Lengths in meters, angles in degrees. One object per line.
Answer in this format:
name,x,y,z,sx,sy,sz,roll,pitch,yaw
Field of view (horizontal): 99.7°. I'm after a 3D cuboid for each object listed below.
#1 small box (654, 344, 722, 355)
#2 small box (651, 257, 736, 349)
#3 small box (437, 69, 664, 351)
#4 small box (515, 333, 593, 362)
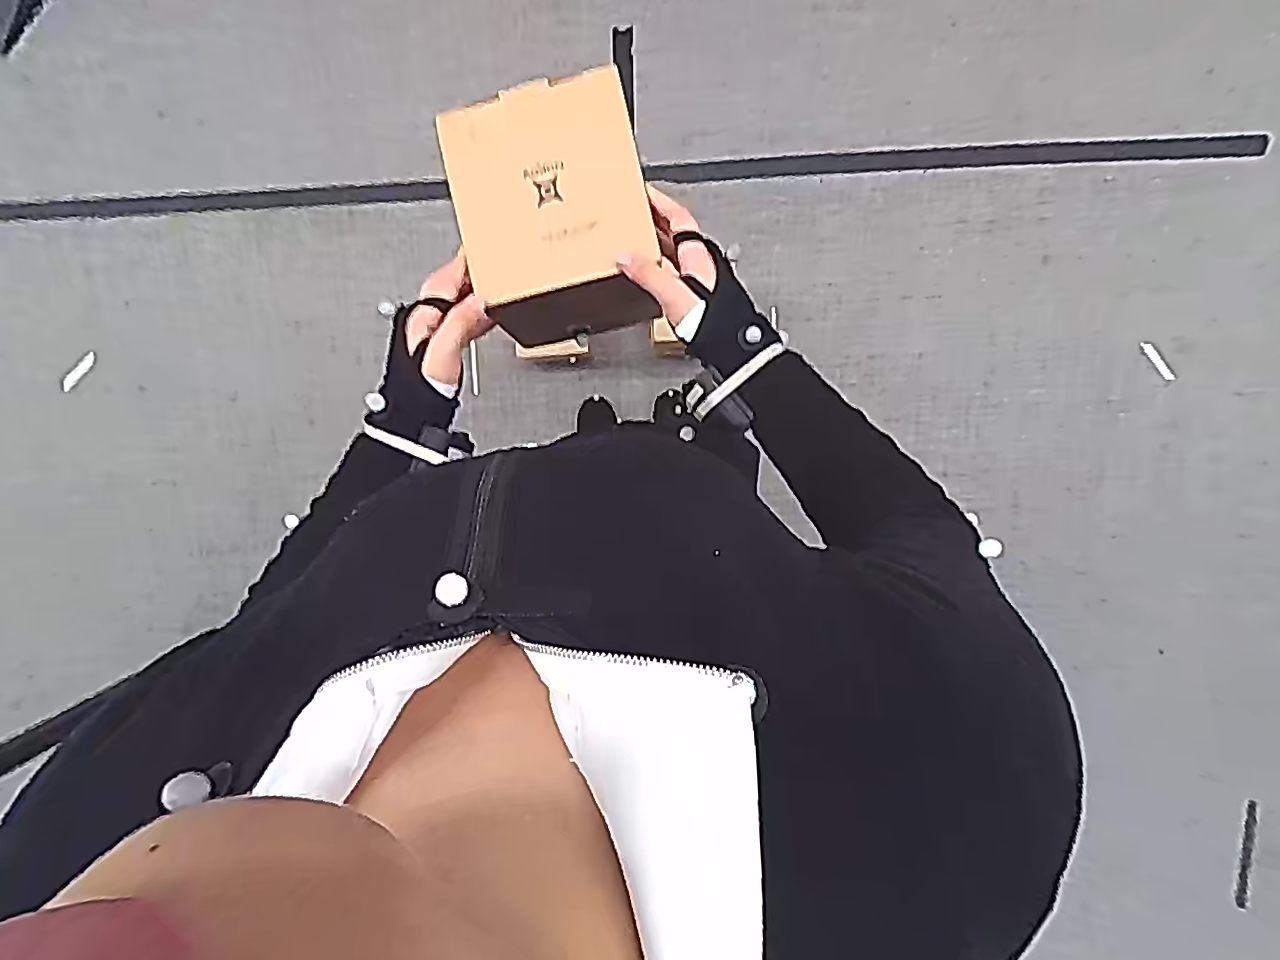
small box,0.117,-0.405,1.349,0.168,0.176,0.179,0,100,0
small box,0.111,-0.381,1.185,0.179,0.176,0.168,-2,99,0
small box,-0.075,-0.248,0.540,0.168,0.176,0.179,-13,90,3
small box,-0.212,-0.388,1.352,0.179,0.176,0.168,-5,98,2
